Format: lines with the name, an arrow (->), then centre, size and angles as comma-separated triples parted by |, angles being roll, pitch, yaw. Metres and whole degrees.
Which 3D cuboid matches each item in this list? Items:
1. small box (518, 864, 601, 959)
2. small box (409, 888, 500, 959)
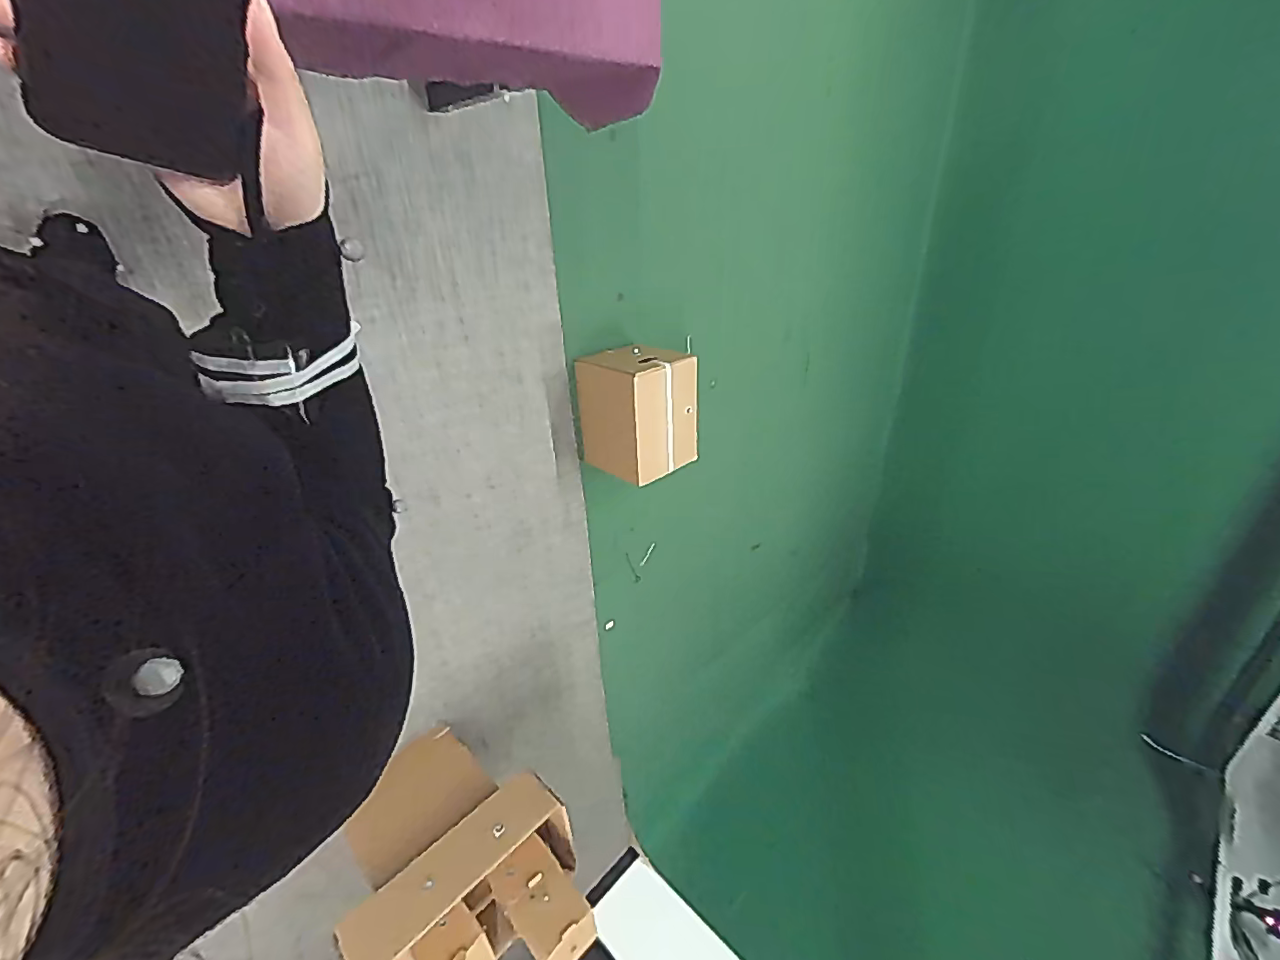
small box -> -0.235, 1.280, 1.577 | 0.168, 0.176, 0.179 | -28, 127, -36
small box -> -0.527, 1.320, 1.535 | 0.168, 0.176, 0.179 | -29, 127, -37
